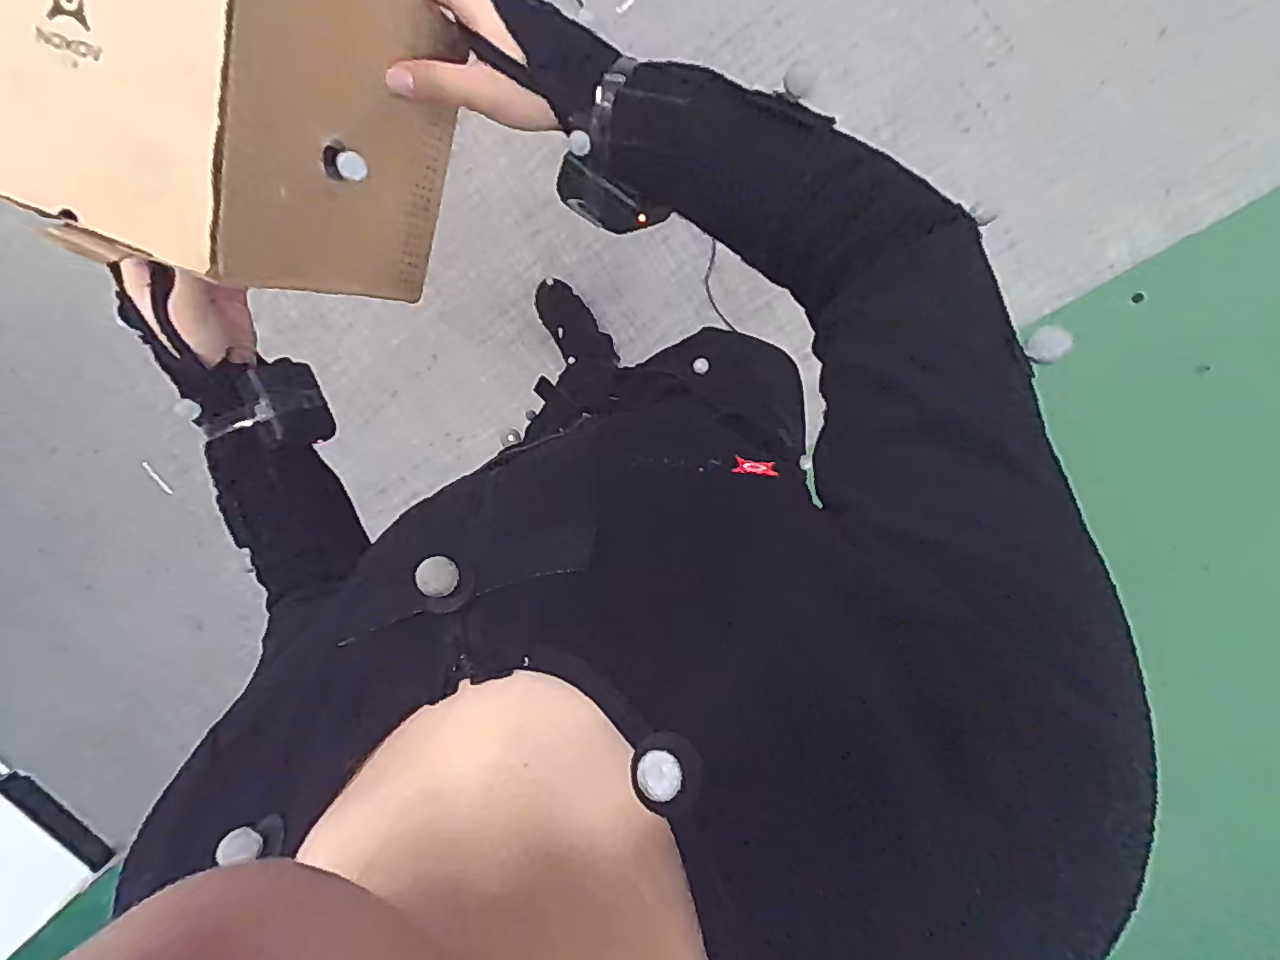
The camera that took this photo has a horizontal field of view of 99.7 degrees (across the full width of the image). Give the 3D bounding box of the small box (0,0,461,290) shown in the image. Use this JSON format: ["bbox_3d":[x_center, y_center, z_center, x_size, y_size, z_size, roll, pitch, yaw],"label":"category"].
[{"bbox_3d":[-0.230,-0.223,0.317,0.168,0.176,0.179,22,109,6],"label":"small box"}]
